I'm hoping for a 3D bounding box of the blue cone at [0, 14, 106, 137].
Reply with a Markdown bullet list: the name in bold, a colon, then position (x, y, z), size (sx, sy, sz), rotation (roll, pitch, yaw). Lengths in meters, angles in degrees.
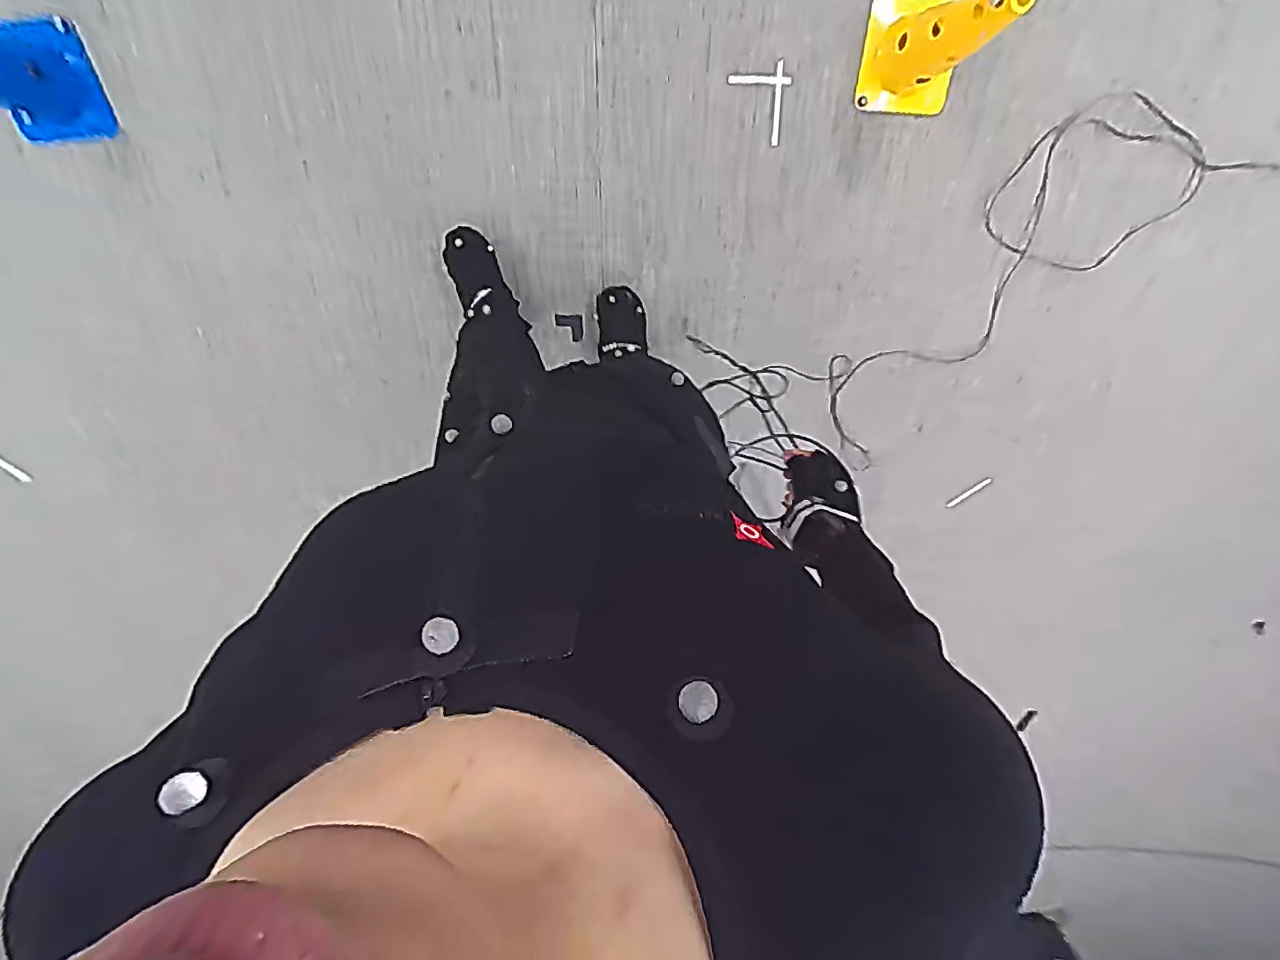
- **blue cone**: position (-1.186, -0.730, 0.933), size (0.193, 0.380, 0.192), rotation (-5, 116, 0)
